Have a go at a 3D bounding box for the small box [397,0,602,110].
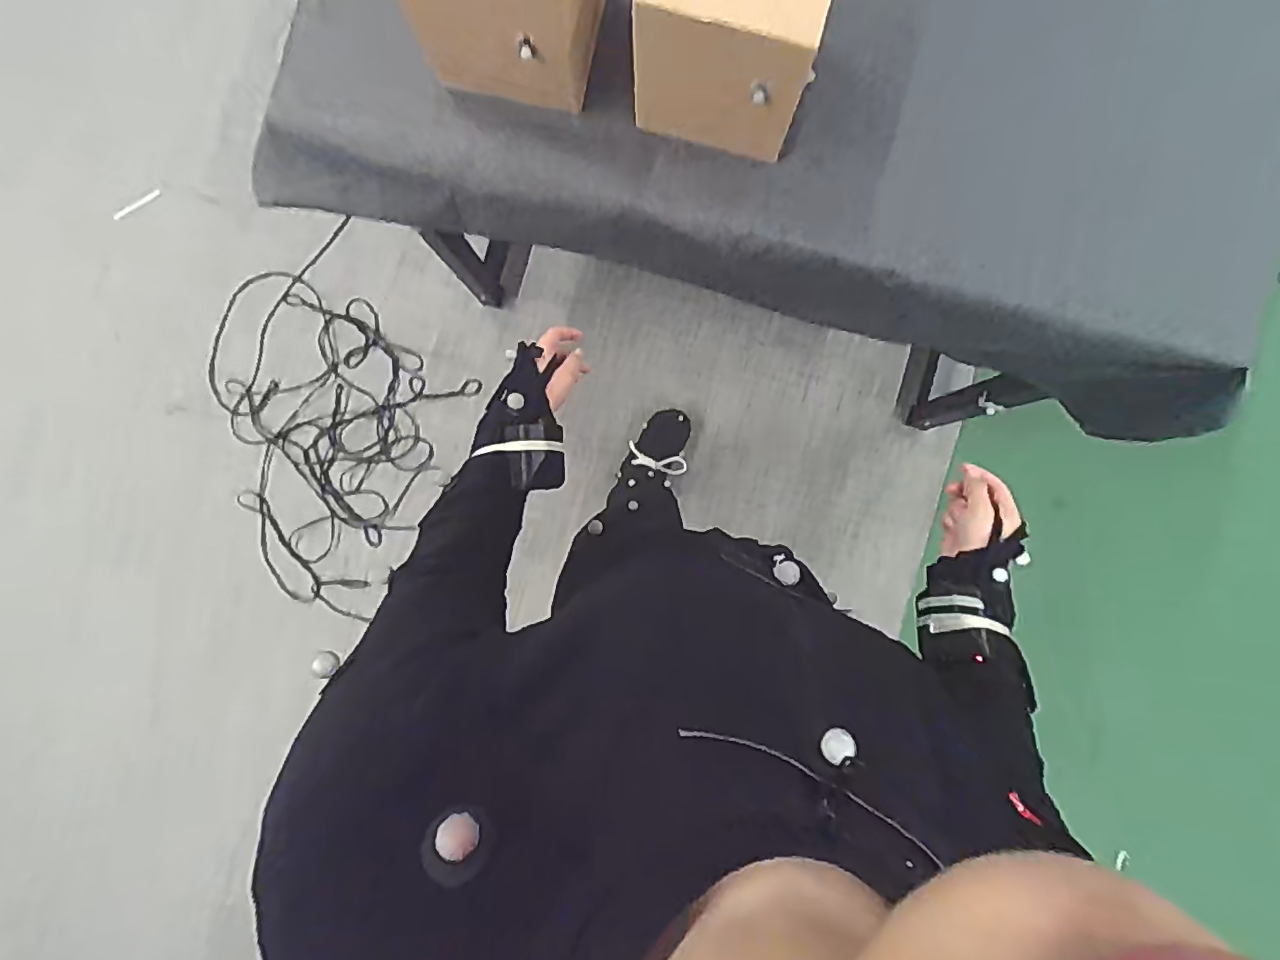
[{"bbox_3d":[-0.142,-0.537,0.576,0.179,0.176,0.168,11,87,2],"label":"small box"}]
